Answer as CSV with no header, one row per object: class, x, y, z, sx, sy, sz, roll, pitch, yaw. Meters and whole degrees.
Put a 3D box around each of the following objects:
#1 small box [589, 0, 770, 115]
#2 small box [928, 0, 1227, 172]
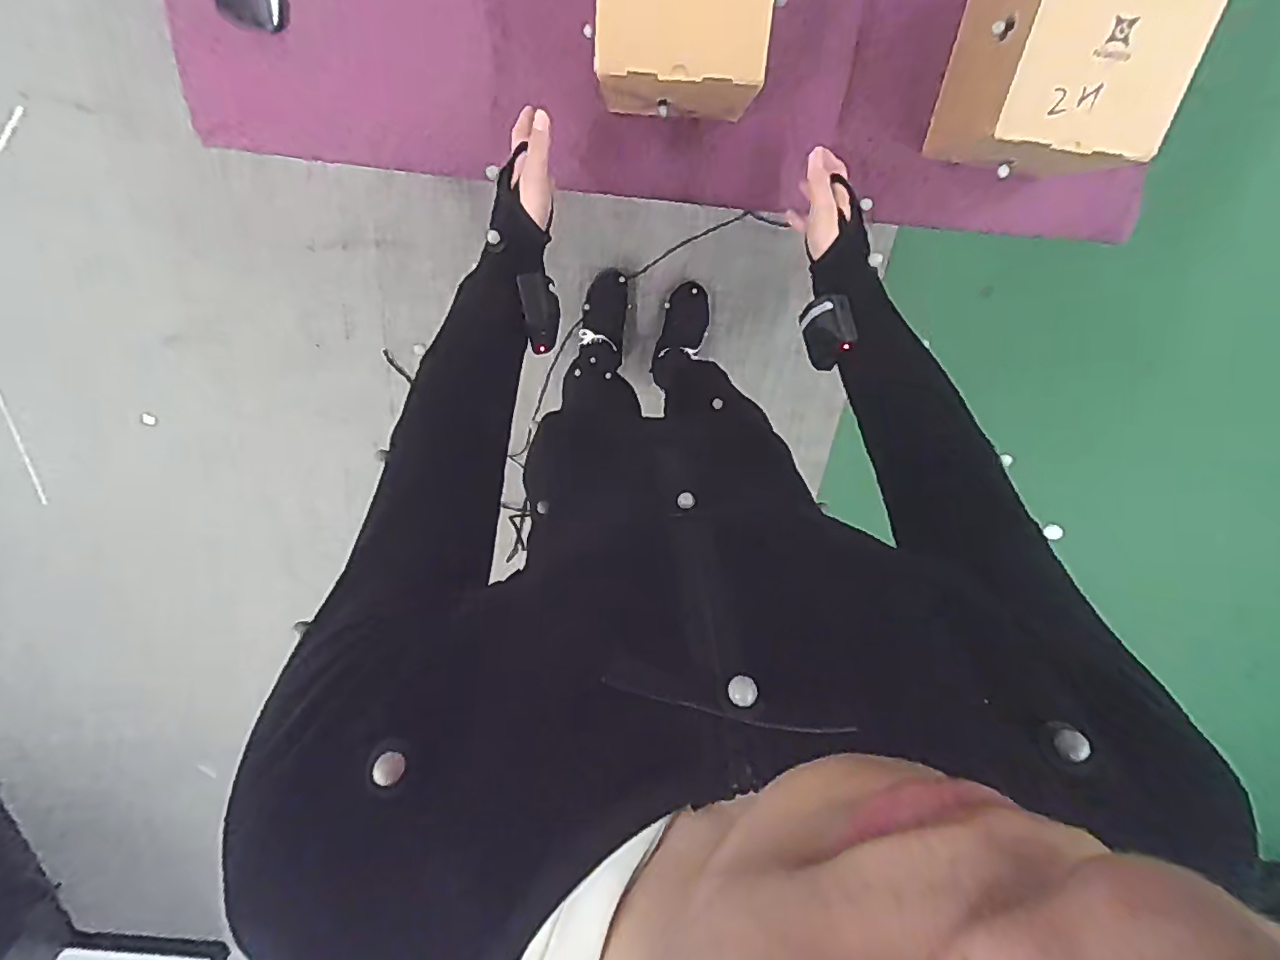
small box,0.039,-0.497,0.550,0.168,0.176,0.179,3,115,-1
small box,0.435,-0.438,0.563,0.168,0.176,0.179,8,115,-1
